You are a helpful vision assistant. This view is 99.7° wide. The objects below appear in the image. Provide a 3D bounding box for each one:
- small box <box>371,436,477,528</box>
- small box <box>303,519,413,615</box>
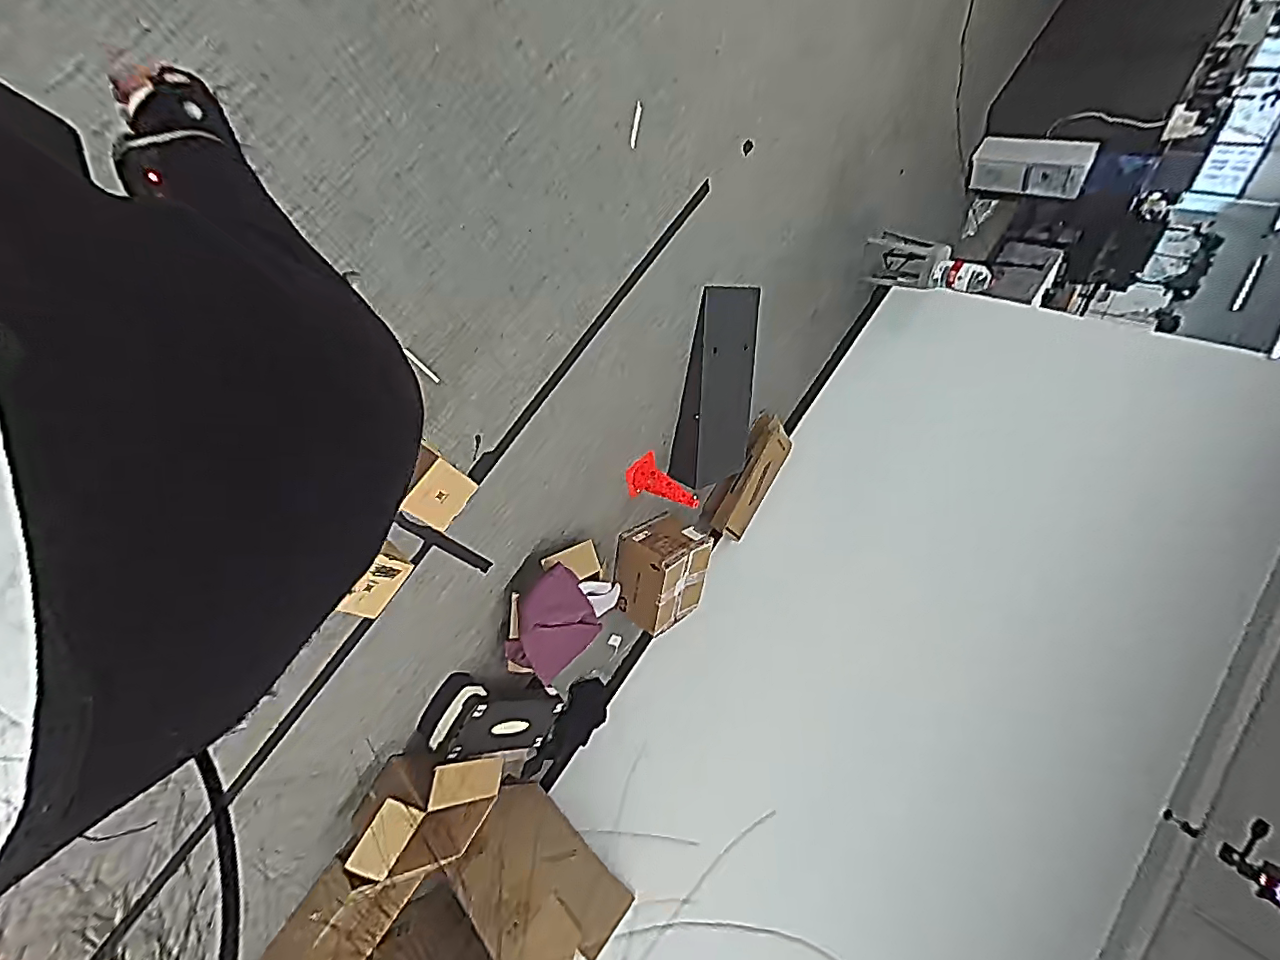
[{"bbox_3d":[-0.600,0.002,1.501,0.168,0.176,0.179,-55,145,-11],"label":"small box"},{"bbox_3d":[-0.762,0.231,1.456,0.179,0.176,0.168,-55,146,-7],"label":"small box"}]
